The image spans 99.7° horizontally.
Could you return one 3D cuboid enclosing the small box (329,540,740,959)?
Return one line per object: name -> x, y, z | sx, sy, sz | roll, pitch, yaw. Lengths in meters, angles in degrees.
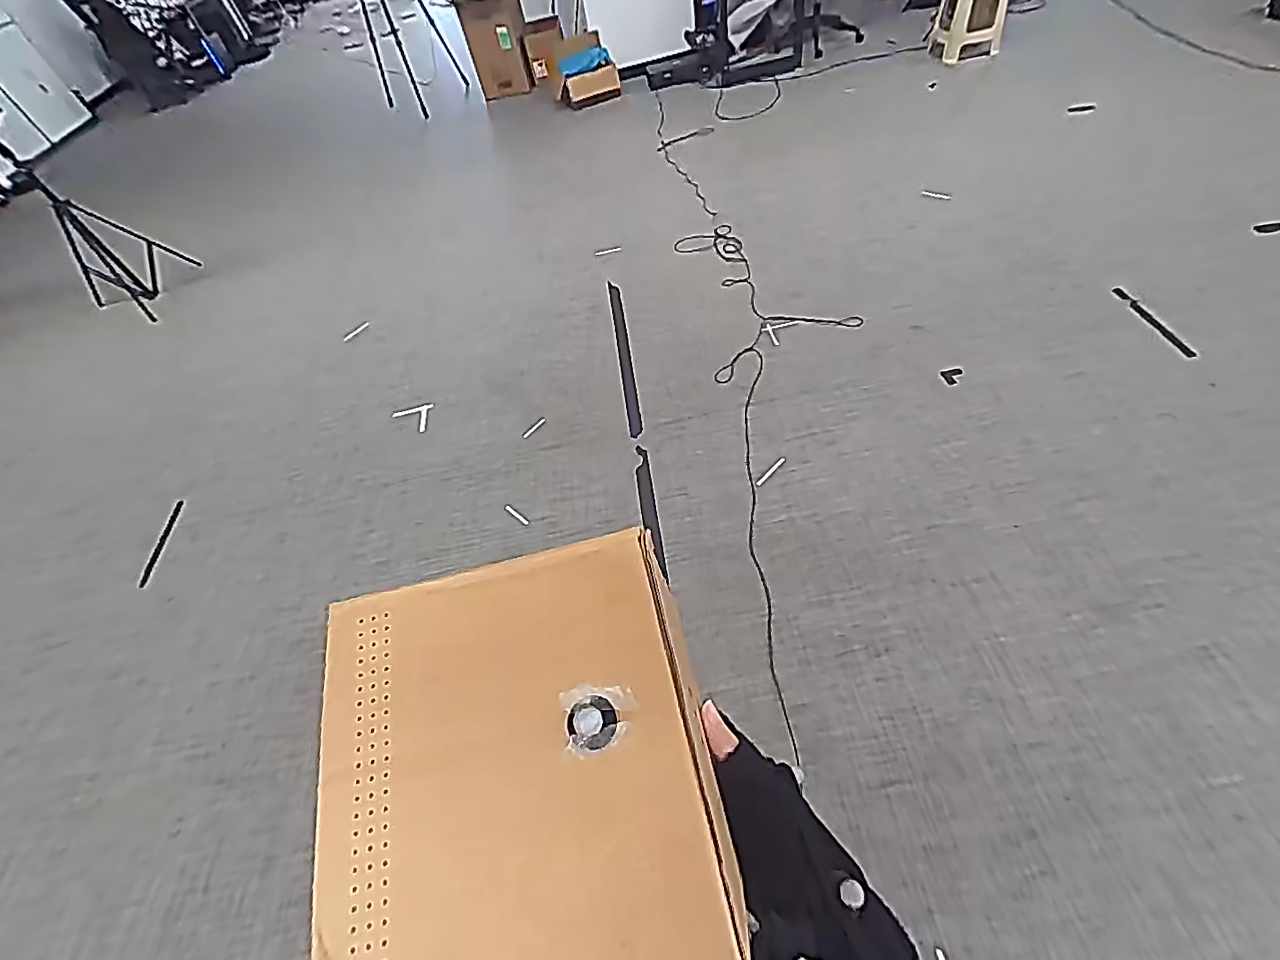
small box -> -0.049, 0.160, 0.312 | 0.176, 0.168, 0.179 | -15, 62, 3
